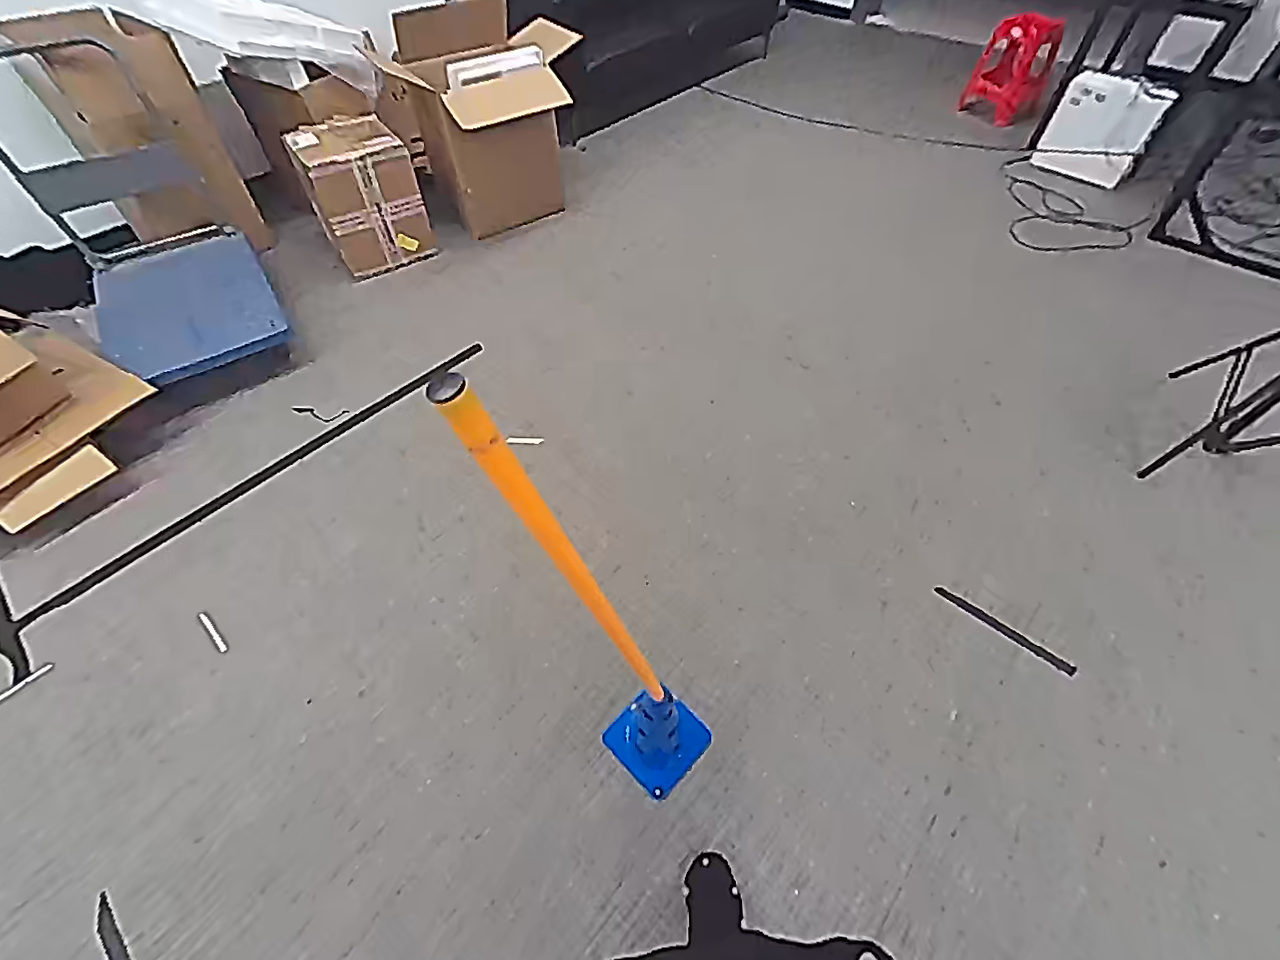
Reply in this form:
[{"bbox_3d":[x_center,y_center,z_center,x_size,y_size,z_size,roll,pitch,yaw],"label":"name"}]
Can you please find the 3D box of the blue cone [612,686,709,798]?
[{"bbox_3d":[0.046,0.515,1.152,0.193,0.380,0.192,-38,62,-24],"label":"blue cone"}]
